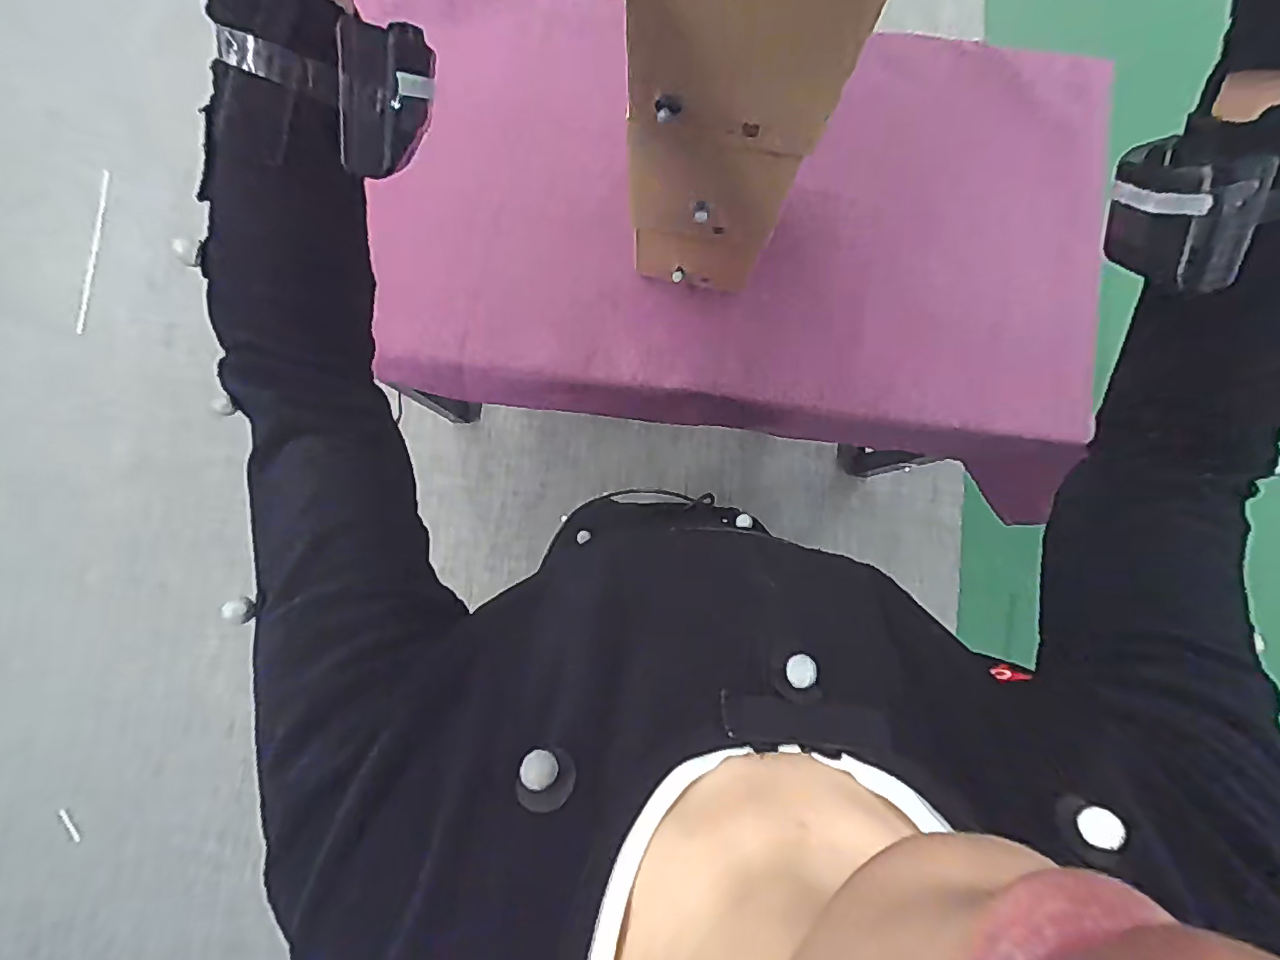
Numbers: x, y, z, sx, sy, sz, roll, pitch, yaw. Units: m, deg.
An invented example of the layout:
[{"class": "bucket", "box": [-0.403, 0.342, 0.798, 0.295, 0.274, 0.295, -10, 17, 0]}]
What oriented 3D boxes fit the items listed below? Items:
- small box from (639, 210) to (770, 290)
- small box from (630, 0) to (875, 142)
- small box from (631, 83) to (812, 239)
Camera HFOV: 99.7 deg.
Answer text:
[{"class": "small box", "box": [0.092, -0.385, 0.726, 0.168, 0.176, 0.179, 11, 85, 1]}, {"class": "small box", "box": [0.088, -0.391, 0.398, 0.168, 0.176, 0.179, 10, 84, 1]}, {"class": "small box", "box": [0.086, -0.386, 0.562, 0.168, 0.176, 0.179, 9, 85, 2]}]
